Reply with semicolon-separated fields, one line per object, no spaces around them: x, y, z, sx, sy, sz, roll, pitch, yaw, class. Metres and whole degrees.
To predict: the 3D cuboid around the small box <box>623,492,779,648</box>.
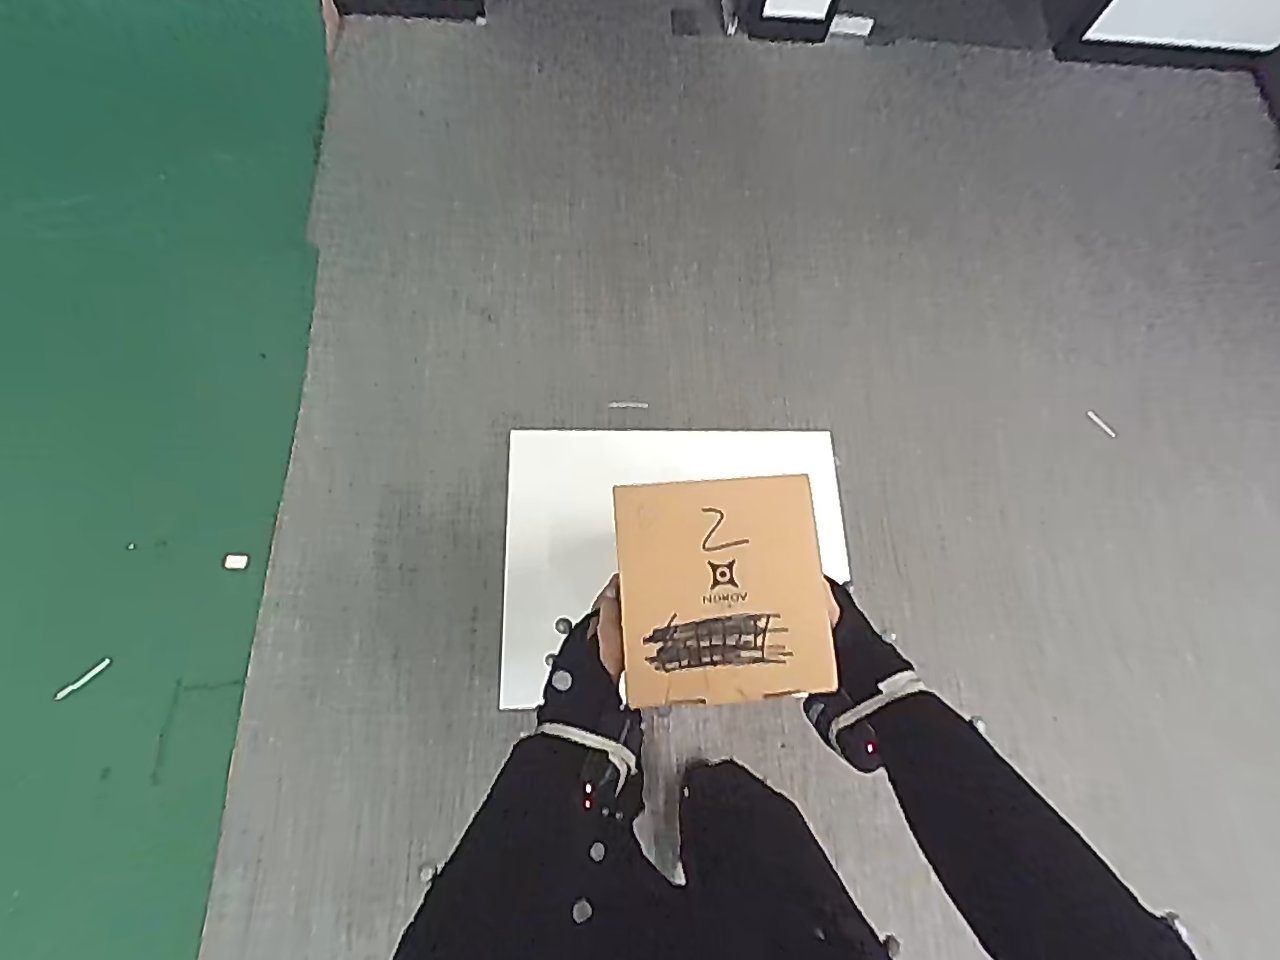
0.065;0.122;0.694;0.168;0.176;0.179;0;72;-5;small box
